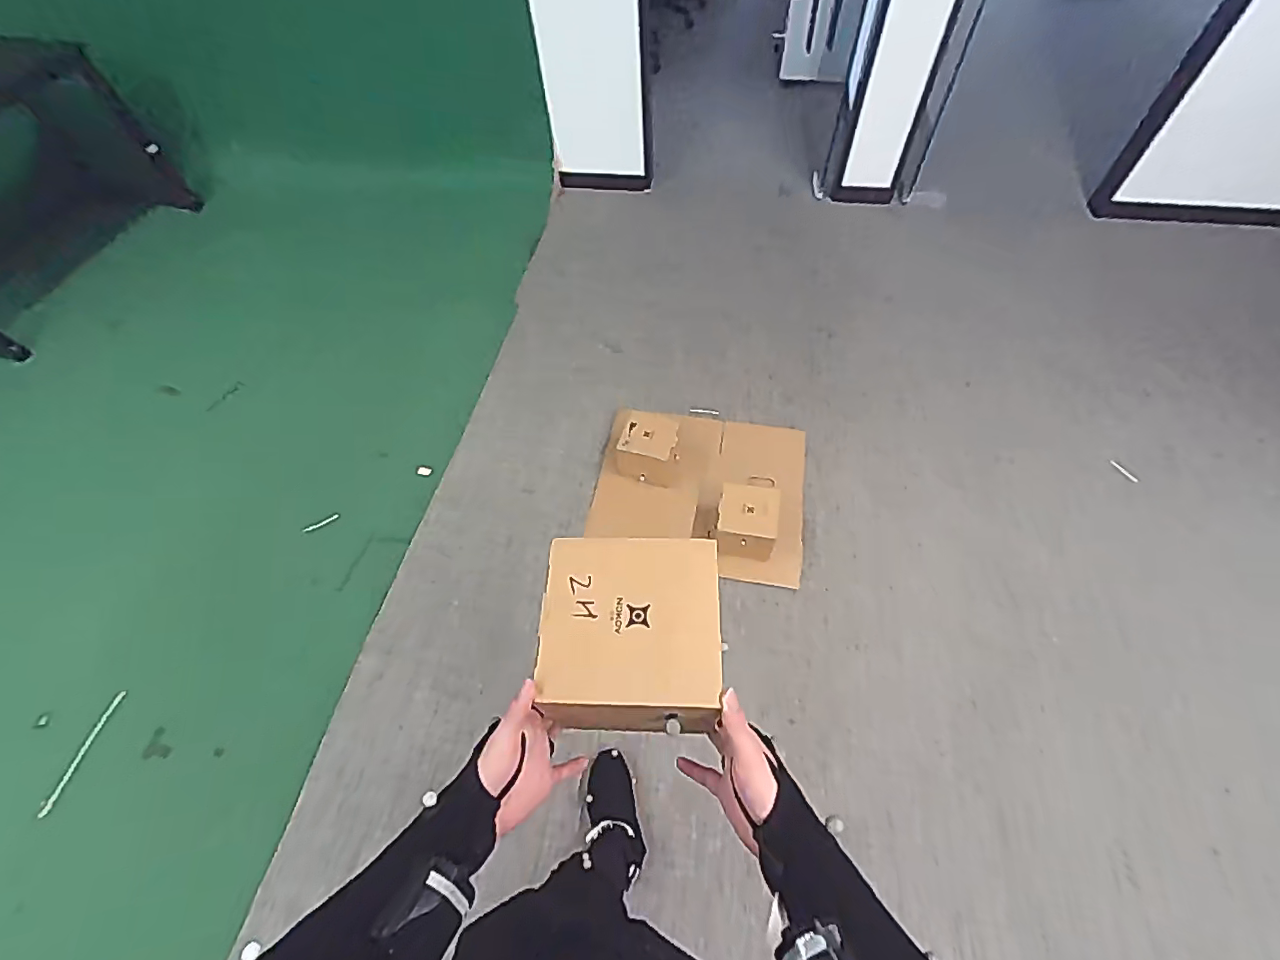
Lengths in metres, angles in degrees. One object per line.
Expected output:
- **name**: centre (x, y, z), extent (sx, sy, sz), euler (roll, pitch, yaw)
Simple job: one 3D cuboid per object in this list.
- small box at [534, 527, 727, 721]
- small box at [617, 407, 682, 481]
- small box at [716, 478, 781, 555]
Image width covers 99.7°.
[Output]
- **small box**: centre (-0.003, 0.162, 0.593), extent (0.179, 0.176, 0.168), euler (0, 58, 4)
- **small box**: centre (0.036, -0.116, 1.819), extent (0.179, 0.176, 0.168), euler (15, 60, 12)
- **small box**: centre (0.329, 0.116, 1.663), extent (0.179, 0.176, 0.168), euler (8, 60, 9)
